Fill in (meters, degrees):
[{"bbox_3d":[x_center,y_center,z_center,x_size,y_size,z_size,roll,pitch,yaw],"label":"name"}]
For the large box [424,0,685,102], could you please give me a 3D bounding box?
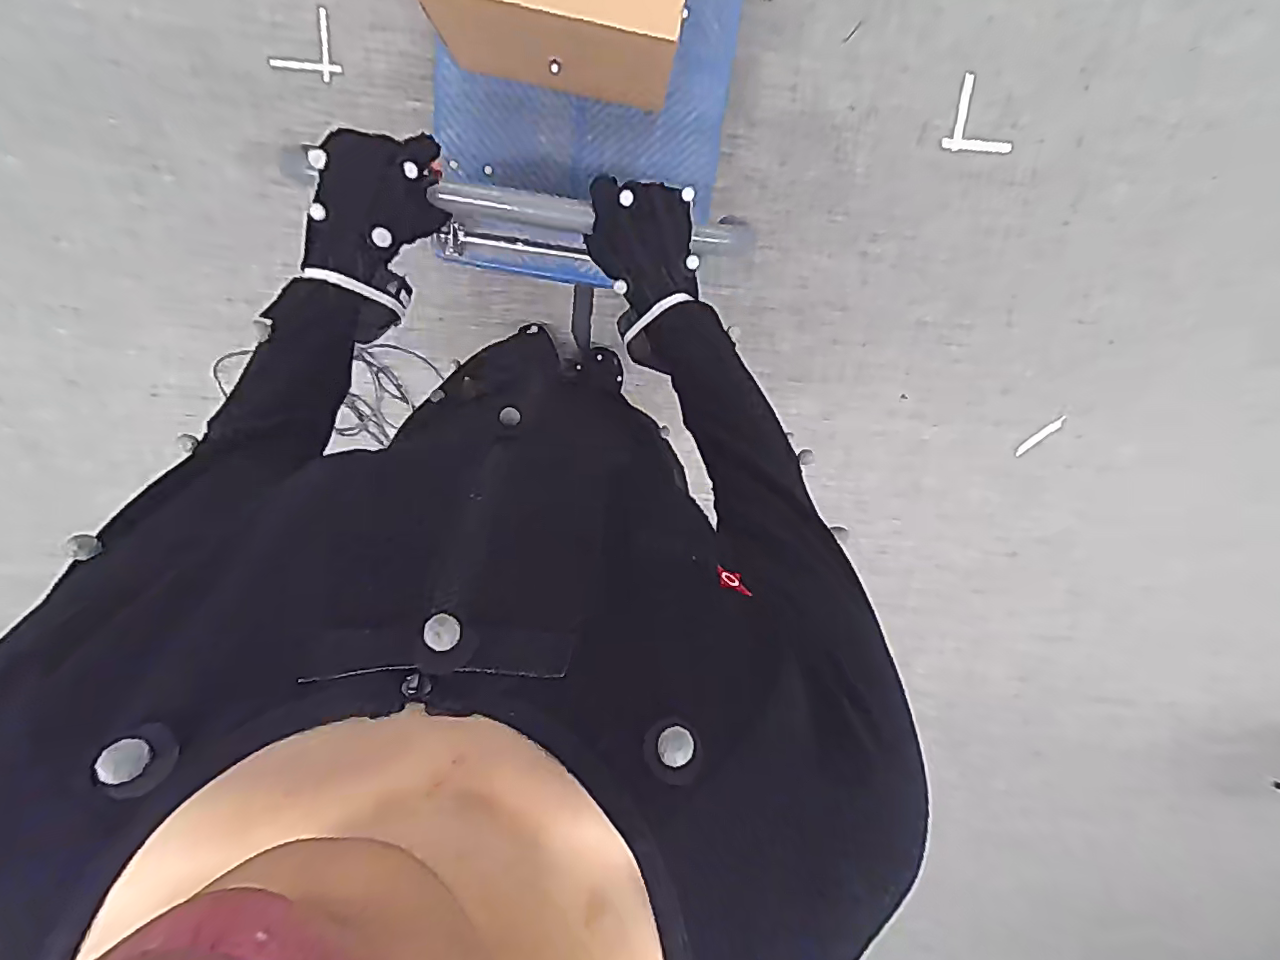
[{"bbox_3d":[-0.118,-0.883,0.892,0.408,0.320,0.320,9,107,-5],"label":"large box"}]
